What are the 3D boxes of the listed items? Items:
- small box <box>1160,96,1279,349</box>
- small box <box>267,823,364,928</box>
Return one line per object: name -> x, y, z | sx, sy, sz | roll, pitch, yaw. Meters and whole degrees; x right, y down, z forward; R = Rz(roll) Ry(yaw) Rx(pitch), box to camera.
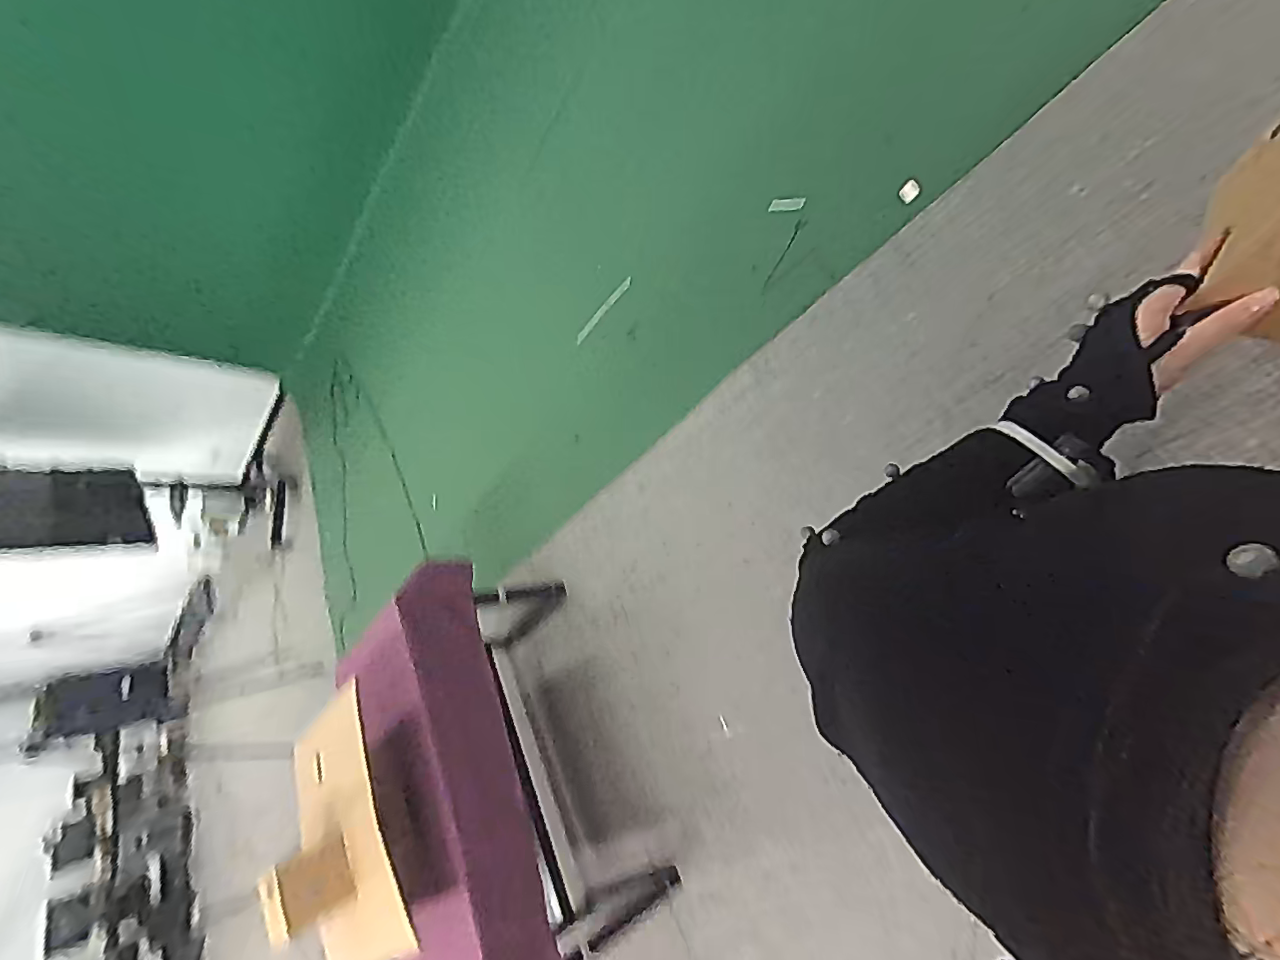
small box -> 0.499, -0.191, 0.341 | 0.179, 0.168, 0.176 | 27, 67, 18
small box -> -0.905, 1.090, 1.507 | 0.168, 0.176, 0.179 | -42, 67, 32
